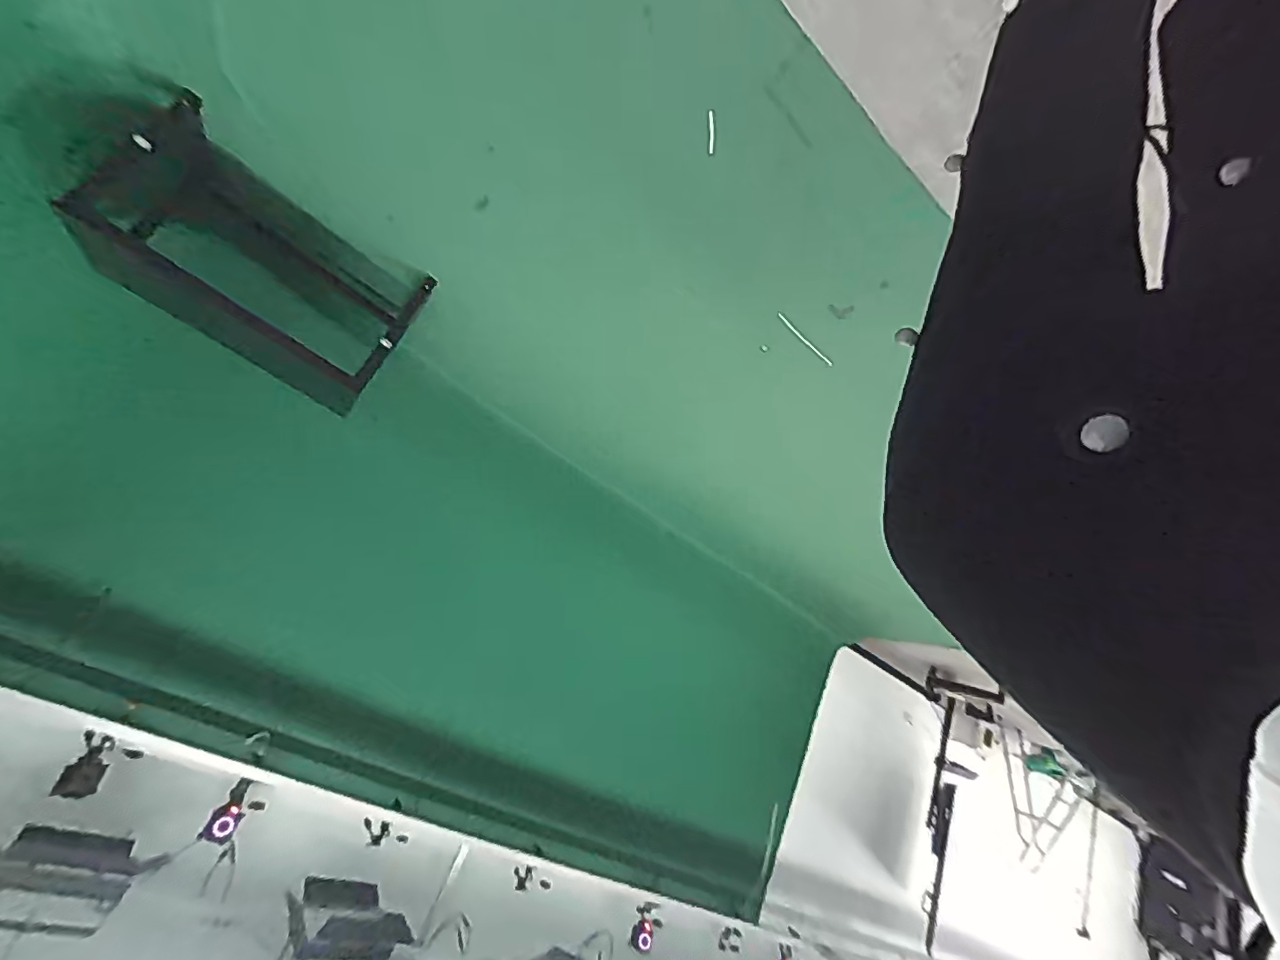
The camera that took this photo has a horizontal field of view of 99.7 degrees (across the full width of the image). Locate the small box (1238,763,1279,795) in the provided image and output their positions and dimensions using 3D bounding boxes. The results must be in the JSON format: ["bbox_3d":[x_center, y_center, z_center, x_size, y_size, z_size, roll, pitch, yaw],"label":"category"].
[{"bbox_3d":[1.880,0.813,1.562,0.179,0.176,0.168,35,157,-21],"label":"small box"}]
